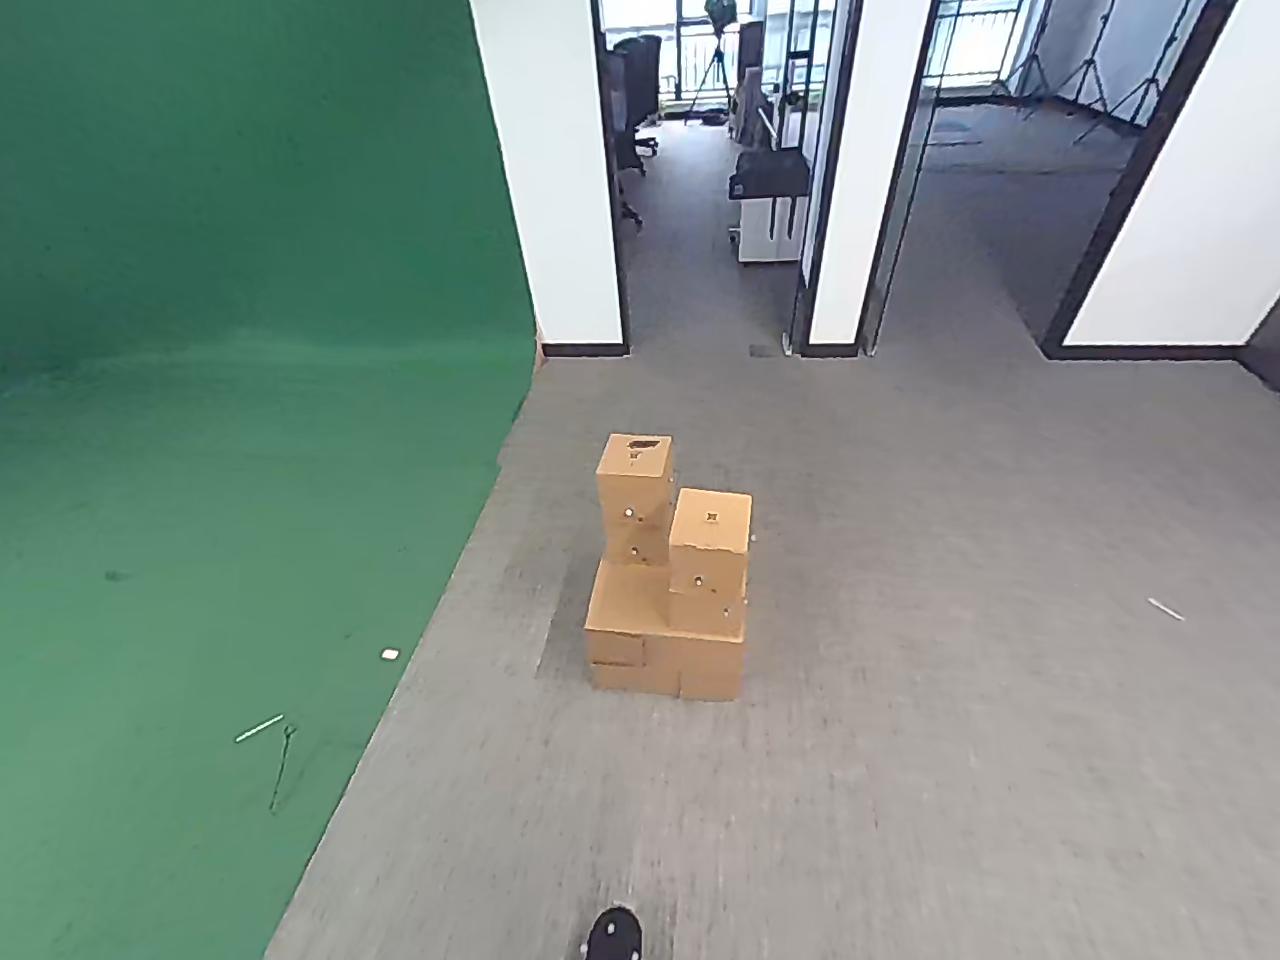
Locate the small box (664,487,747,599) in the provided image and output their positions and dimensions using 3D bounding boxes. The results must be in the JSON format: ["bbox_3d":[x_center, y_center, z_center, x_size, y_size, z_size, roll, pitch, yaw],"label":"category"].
[{"bbox_3d":[0.148,0.143,1.238,0.168,0.176,0.179,6,42,10],"label":"small box"}]

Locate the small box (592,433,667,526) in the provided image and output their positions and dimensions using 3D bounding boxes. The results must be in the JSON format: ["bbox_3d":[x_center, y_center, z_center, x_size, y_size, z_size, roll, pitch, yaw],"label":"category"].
[{"bbox_3d":[-0.021,-0.004,1.421,0.168,0.176,0.179,4,40,10],"label":"small box"}]

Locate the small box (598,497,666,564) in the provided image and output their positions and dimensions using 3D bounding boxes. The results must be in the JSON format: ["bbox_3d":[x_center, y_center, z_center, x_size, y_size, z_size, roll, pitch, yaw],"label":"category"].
[{"bbox_3d":[-0.017,0.114,1.537,0.168,0.176,0.179,2,39,8],"label":"small box"}]
